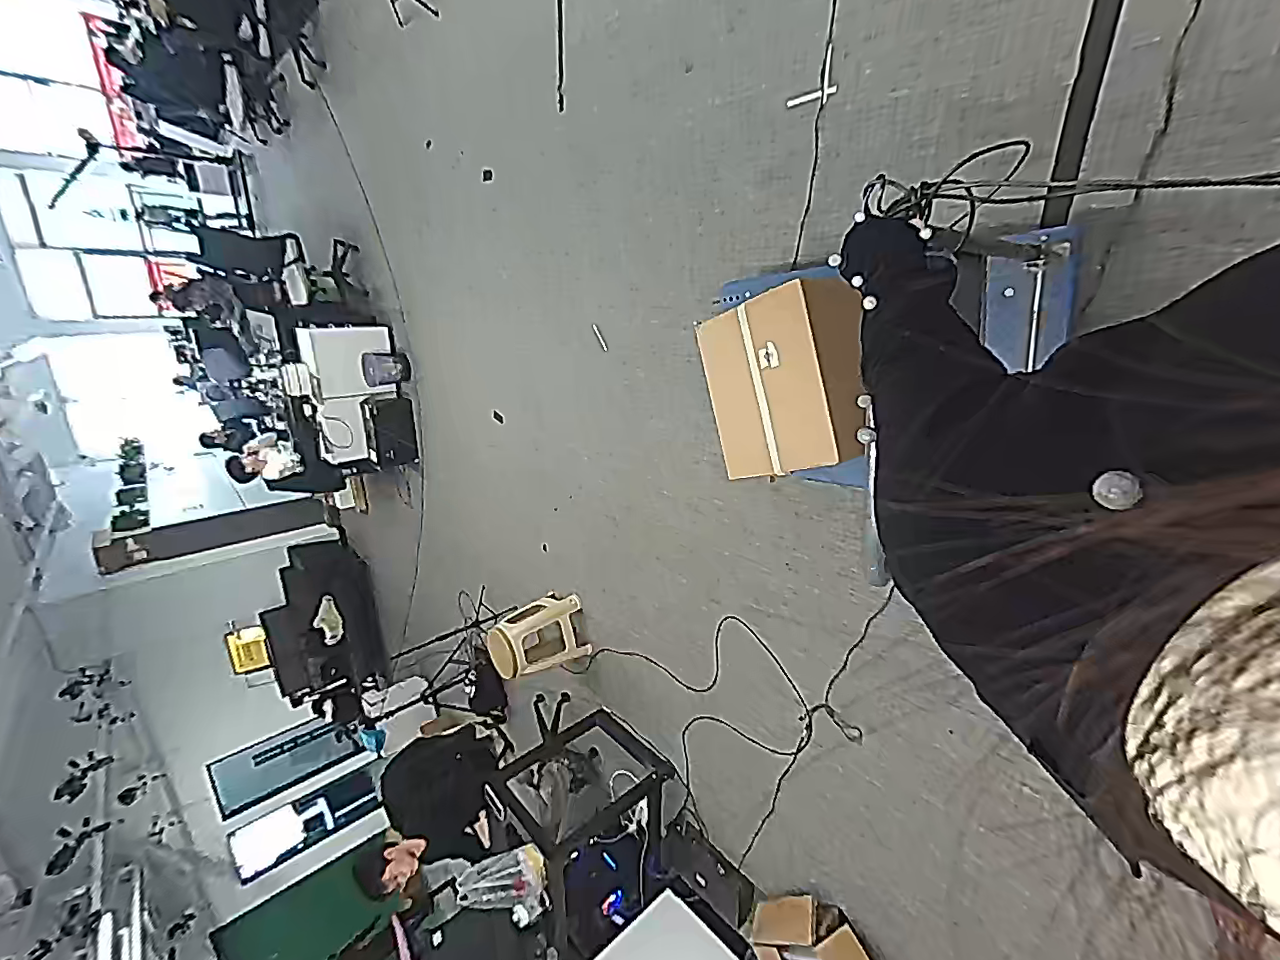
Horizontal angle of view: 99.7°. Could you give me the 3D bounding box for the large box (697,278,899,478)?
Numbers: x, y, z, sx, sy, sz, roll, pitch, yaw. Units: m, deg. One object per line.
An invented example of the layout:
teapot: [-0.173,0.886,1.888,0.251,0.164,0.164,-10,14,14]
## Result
large box: [0.393,-0.243,1.347,0.320,0.320,0.408,-10,93,50]
